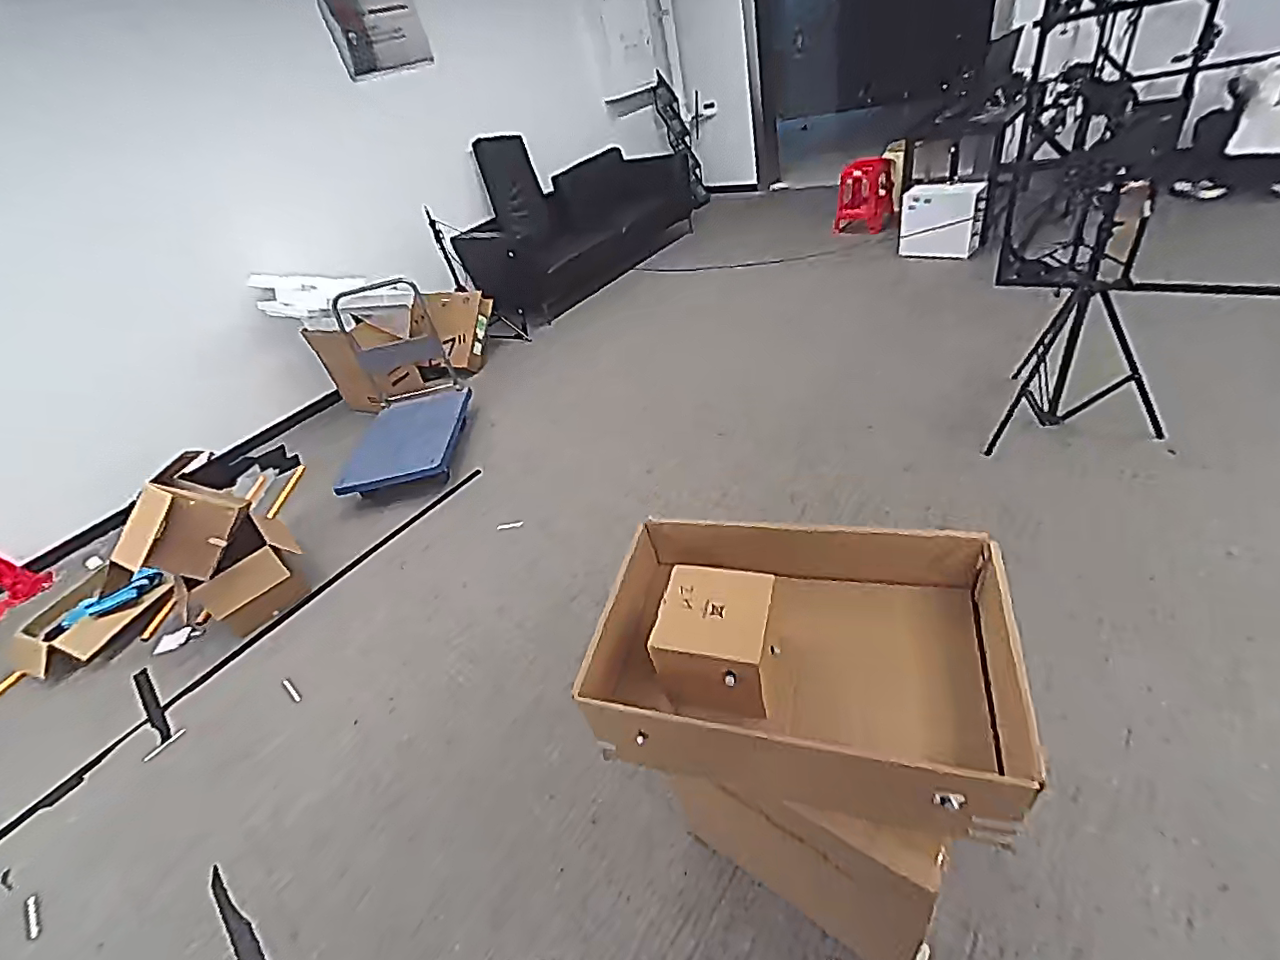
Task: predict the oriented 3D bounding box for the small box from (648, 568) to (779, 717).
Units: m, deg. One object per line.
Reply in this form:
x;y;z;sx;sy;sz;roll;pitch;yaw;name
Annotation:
0.134;0.273;0.908;0.179;0.176;0.168;2;42;23;small box
